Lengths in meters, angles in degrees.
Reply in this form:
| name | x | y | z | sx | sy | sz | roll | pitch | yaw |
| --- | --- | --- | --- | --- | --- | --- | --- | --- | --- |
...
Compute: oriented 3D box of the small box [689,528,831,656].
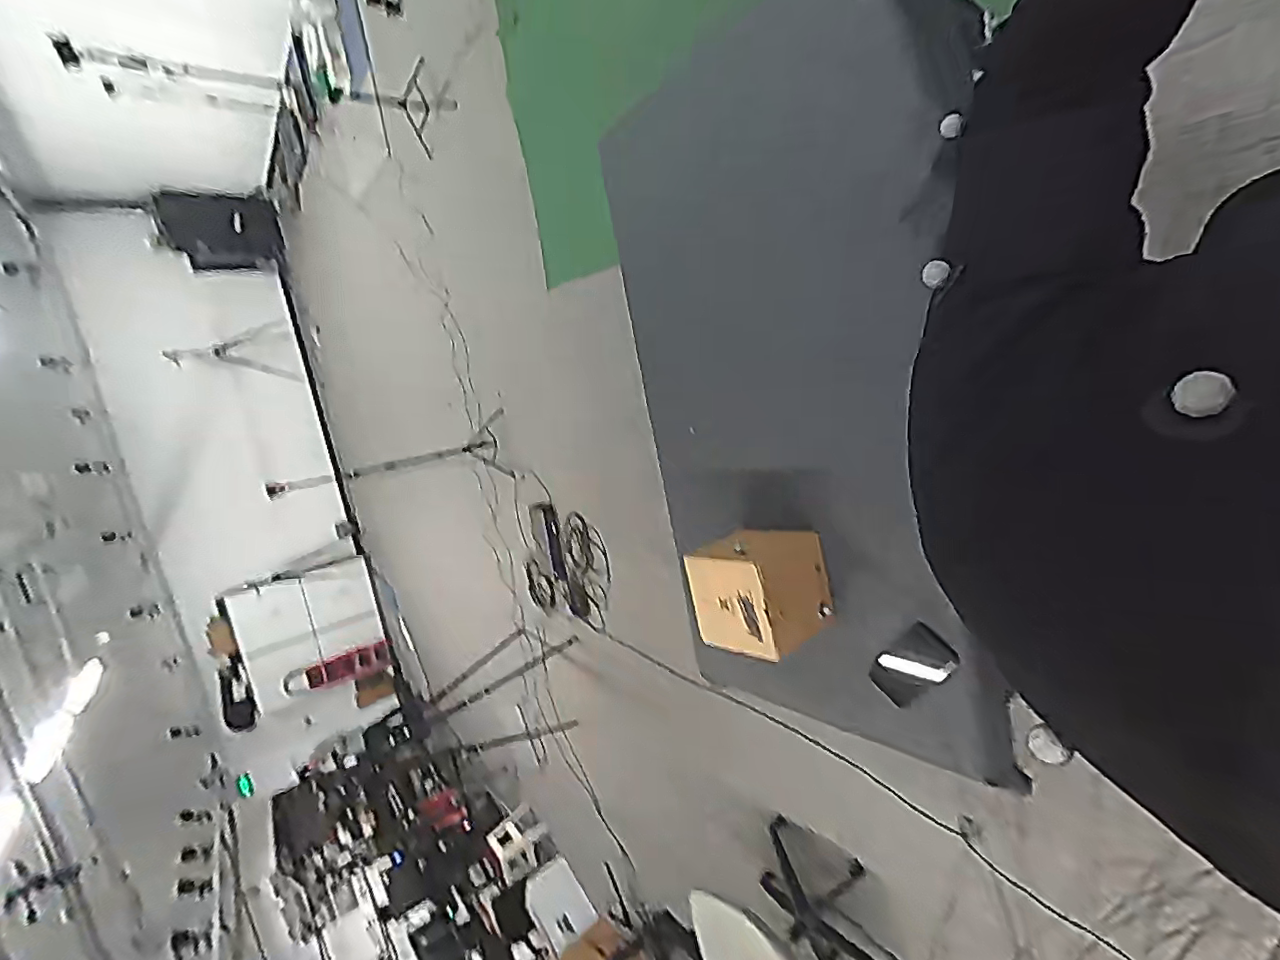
| name | x | y | z | sx | sy | sz | roll | pitch | yaw |
| --- | --- | --- | --- | --- | --- | --- | --- | --- | --- |
| small box | 0.220 | 0.188 | 0.967 | 0.179 | 0.176 | 0.168 | -6 | 99 | 54 |
